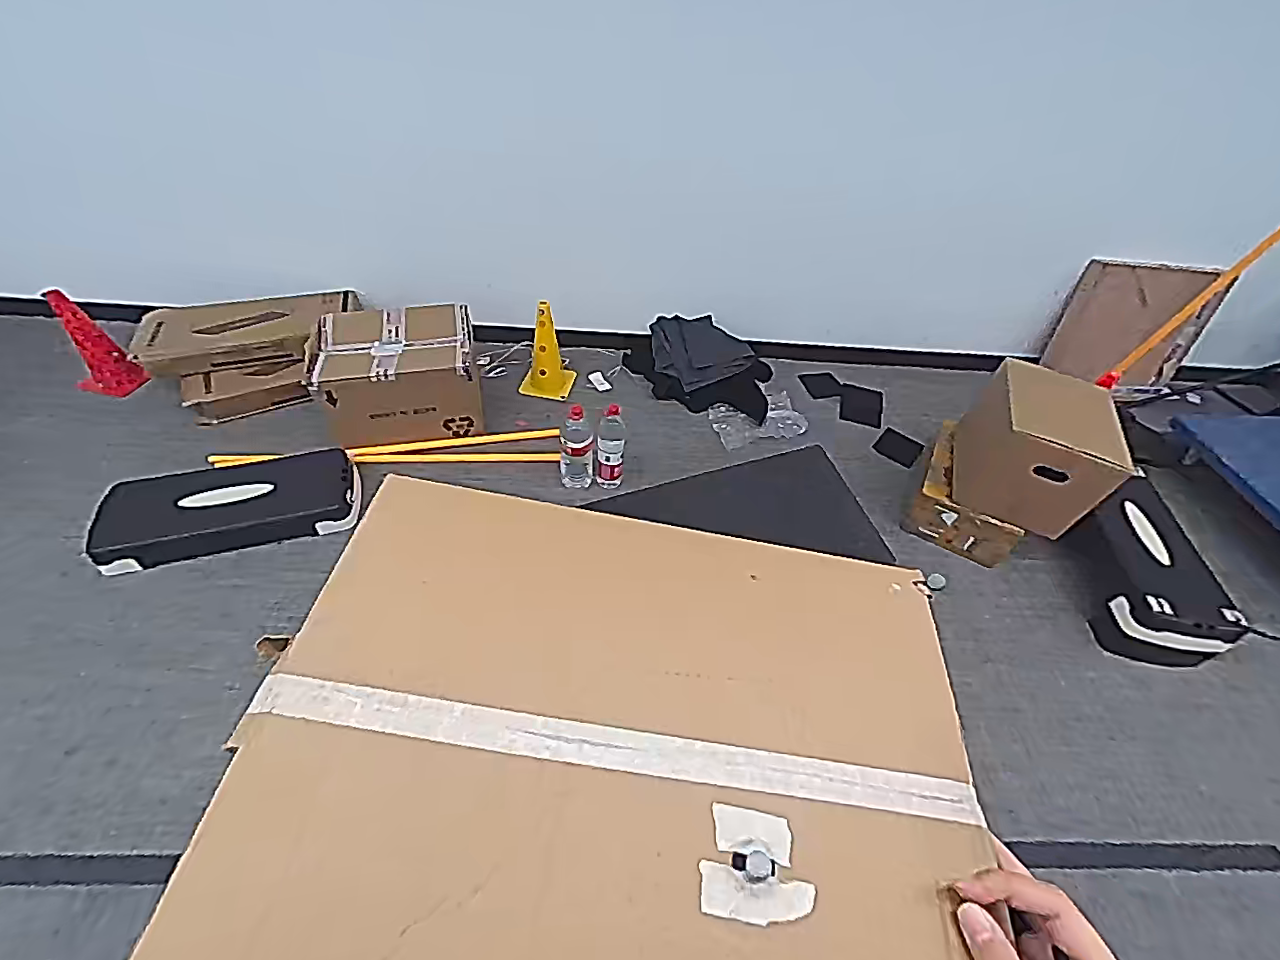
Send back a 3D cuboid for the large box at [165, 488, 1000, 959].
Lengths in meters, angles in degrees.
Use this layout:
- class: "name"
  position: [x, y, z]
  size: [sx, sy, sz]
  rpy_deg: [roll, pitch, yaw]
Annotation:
- class: "large box"
  position: [-0.025, 0.248, 0.430]
  size: [0.408, 0.320, 0.320]
  rpy_deg: [12, 52, -3]
